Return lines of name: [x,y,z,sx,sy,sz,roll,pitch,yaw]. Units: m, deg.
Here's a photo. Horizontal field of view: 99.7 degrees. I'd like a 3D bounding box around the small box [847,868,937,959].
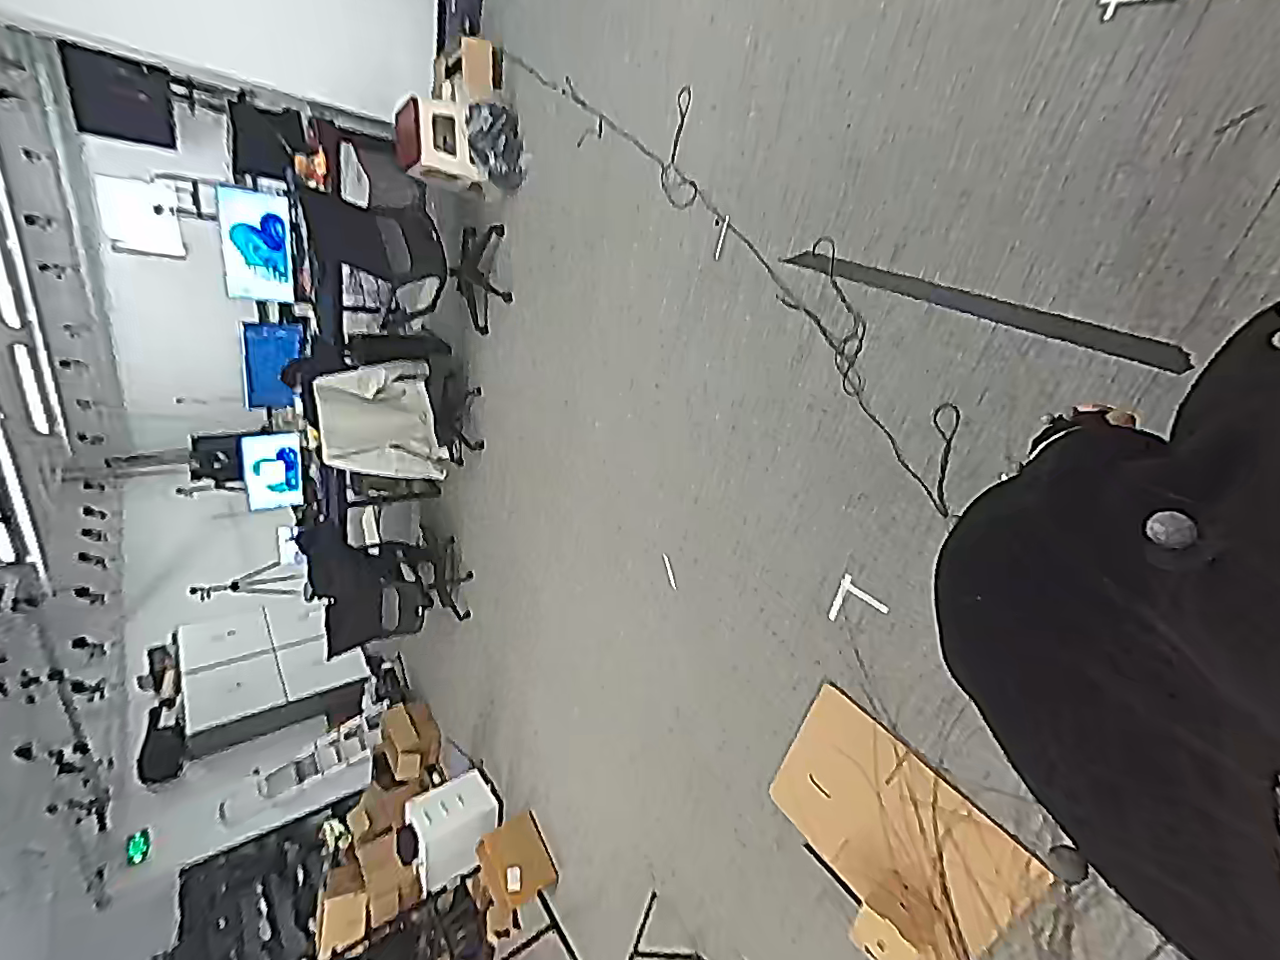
small box: [0.754,1.314,1.608,0.168,0.176,0.179,30,119,43]
